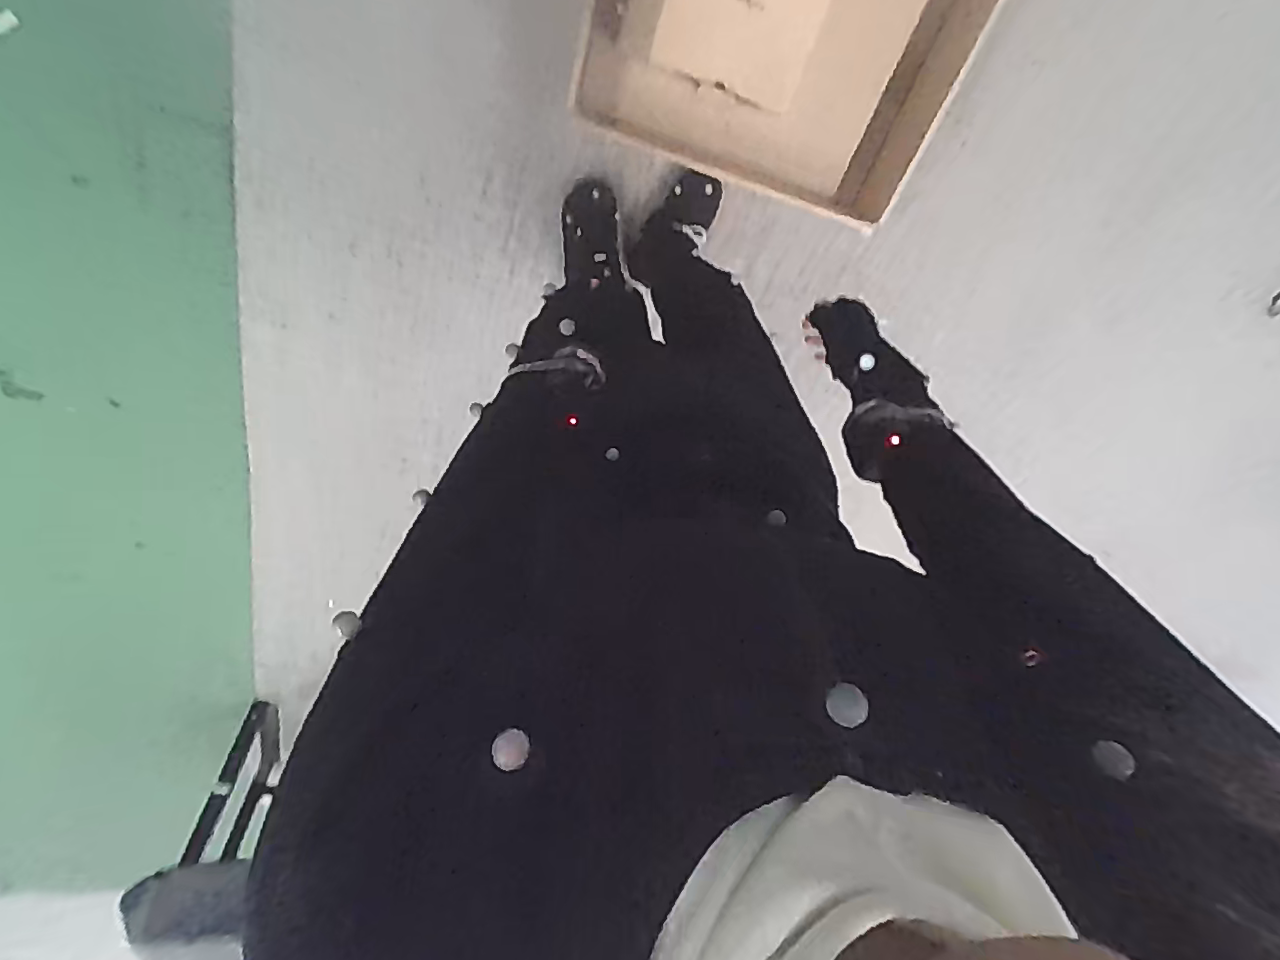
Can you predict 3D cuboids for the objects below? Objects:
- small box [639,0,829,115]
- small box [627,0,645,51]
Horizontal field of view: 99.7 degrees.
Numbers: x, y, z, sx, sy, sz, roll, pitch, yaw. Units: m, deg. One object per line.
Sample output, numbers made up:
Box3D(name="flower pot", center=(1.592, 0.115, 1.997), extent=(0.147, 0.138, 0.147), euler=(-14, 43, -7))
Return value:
Box3D(name="small box", center=(0.102, -0.543, 0.601), extent=(0.168, 0.176, 0.179), euler=(10, 127, -16))
Box3D(name="small box", center=(0.092, -0.648, 0.725), extent=(0.179, 0.176, 0.168), euler=(11, 127, -16))
